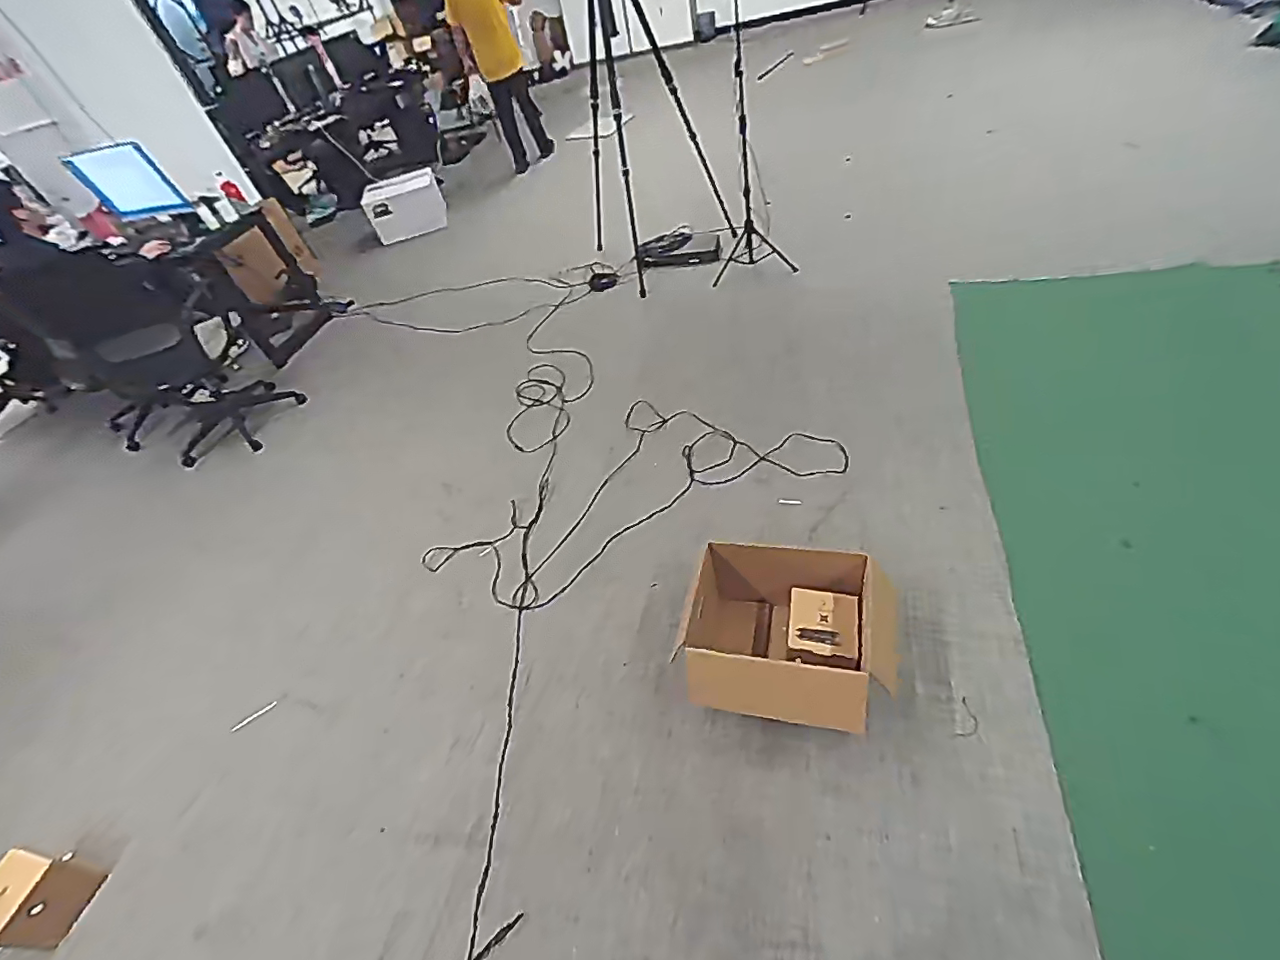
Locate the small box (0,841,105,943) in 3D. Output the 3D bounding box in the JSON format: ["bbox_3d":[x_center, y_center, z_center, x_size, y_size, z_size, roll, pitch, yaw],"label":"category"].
[{"bbox_3d":[-1.558,1.064,1.397,0.168,0.176,0.179,2,50,16],"label":"small box"}]
